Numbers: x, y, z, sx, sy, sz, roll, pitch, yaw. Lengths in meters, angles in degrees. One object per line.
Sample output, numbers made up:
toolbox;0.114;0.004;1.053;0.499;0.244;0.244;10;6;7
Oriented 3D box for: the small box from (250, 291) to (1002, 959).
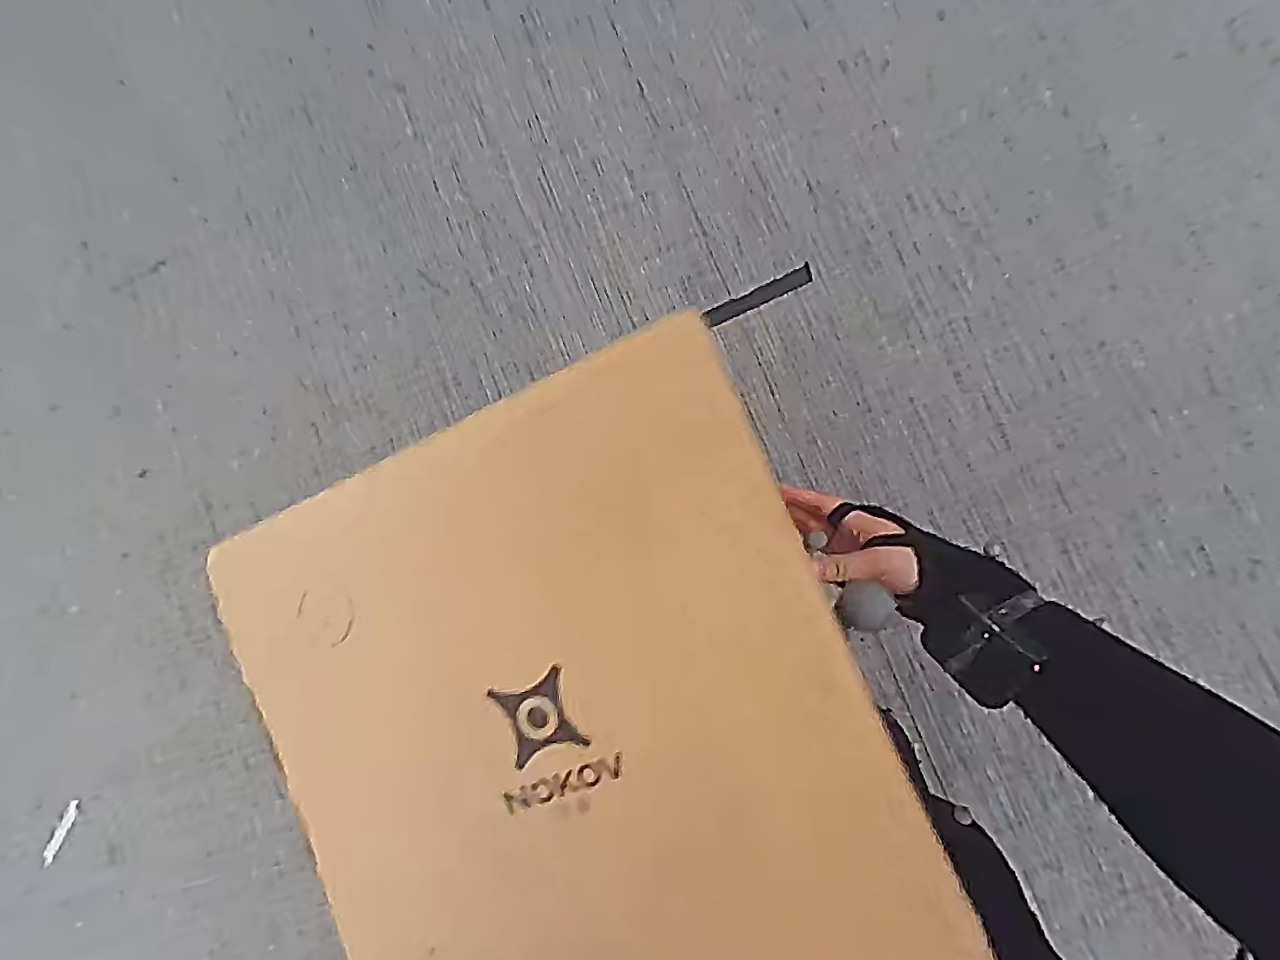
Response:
small box;-0.003;0.058;0.229;0.168;0.176;0.179;-24;86;10
